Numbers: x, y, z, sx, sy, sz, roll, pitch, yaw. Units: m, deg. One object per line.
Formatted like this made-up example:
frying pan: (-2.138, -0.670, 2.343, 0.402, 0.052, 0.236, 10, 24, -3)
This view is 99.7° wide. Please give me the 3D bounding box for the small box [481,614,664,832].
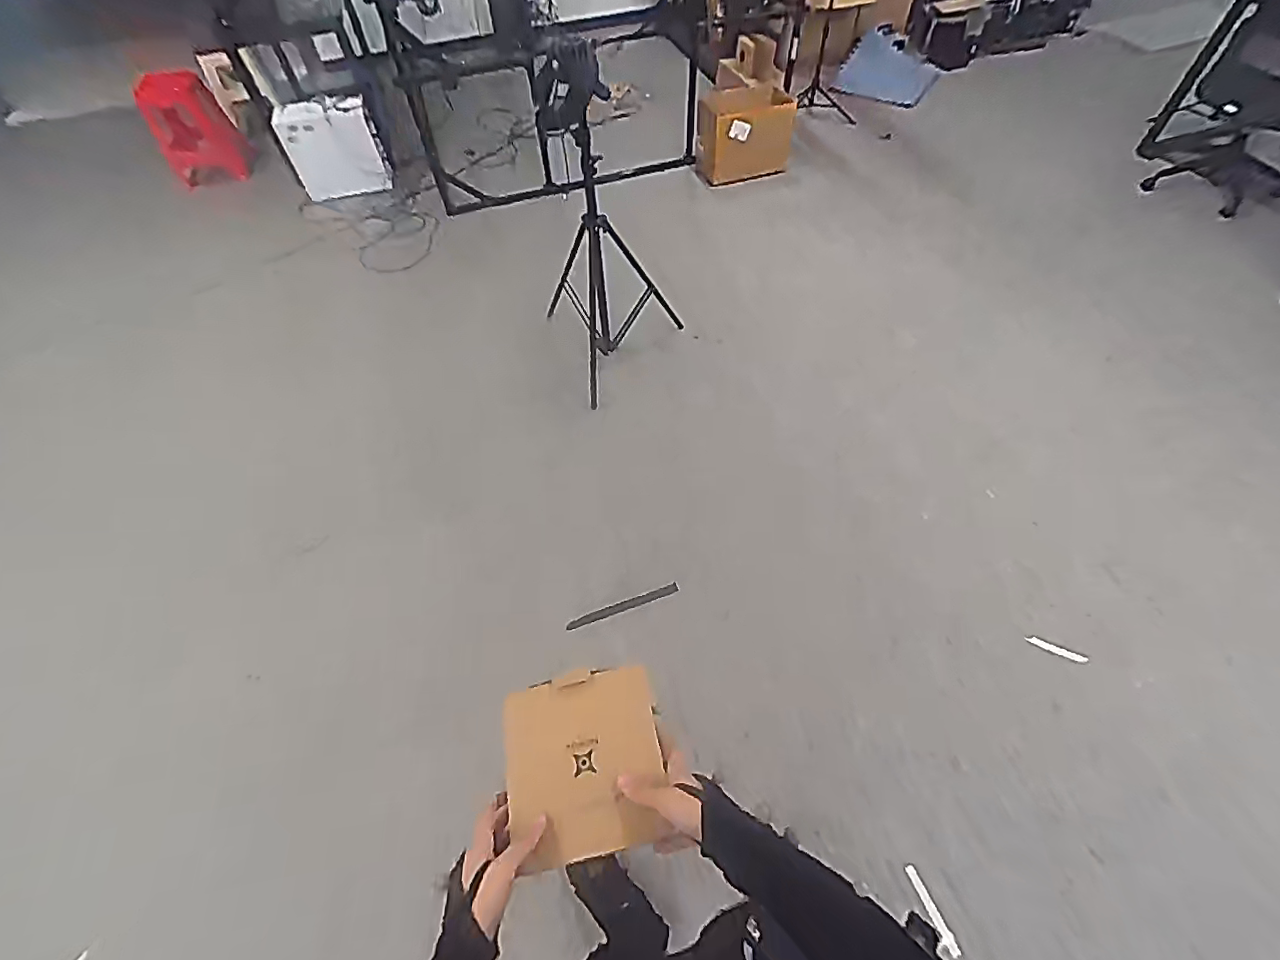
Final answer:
small box: (-0.072, 0.275, 0.604, 0.168, 0.176, 0.179, -12, 57, -5)
